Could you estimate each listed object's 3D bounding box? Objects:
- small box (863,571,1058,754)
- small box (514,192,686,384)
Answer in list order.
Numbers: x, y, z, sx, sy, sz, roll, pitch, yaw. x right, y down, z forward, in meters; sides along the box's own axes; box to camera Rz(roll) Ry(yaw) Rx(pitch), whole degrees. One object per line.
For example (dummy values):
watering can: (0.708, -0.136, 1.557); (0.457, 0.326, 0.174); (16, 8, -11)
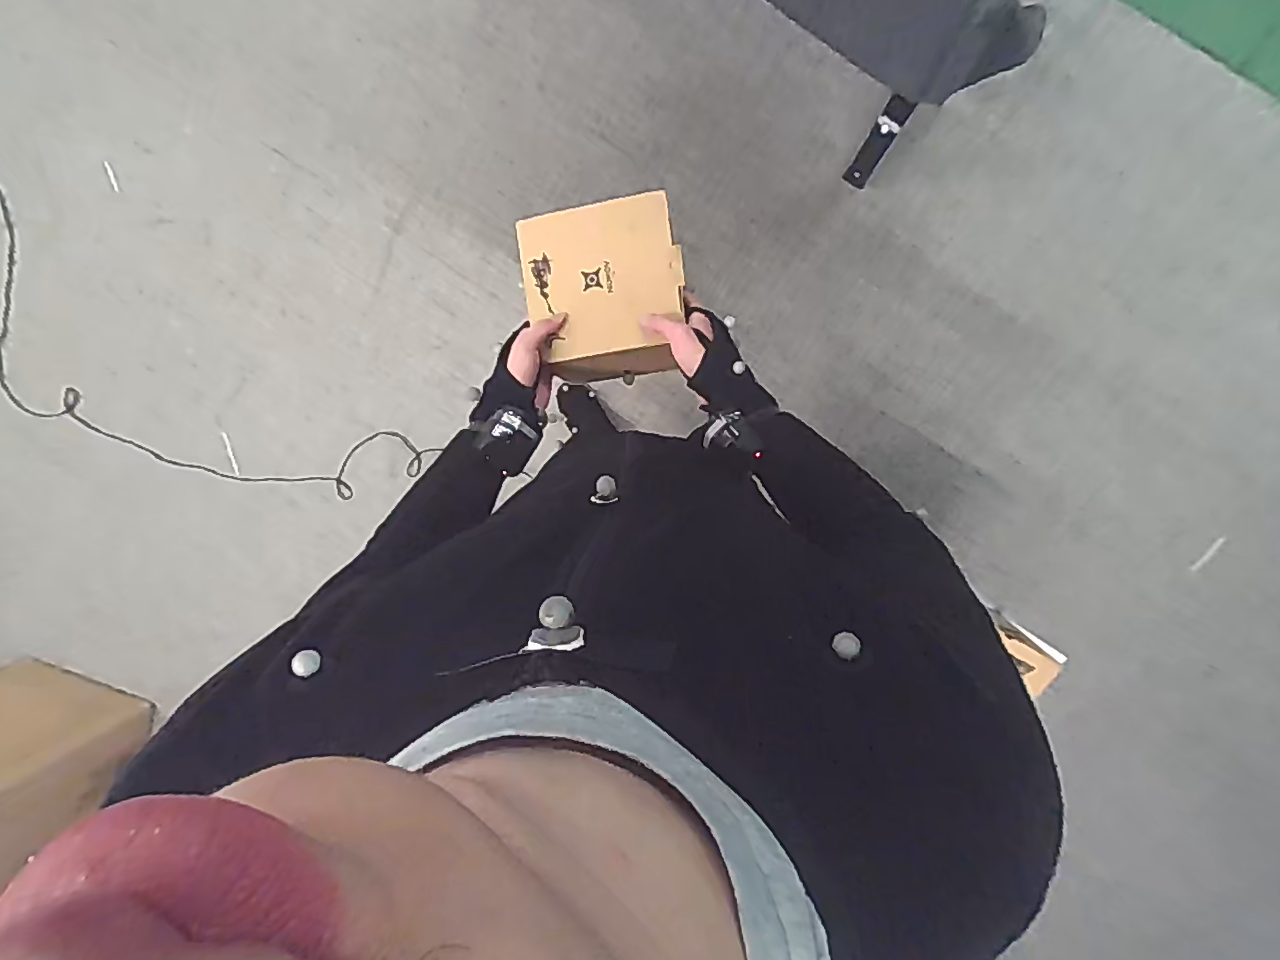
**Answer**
small box: (0.479, 0.271, 0.843); (0.168, 0.176, 0.179); (32, 104, 2)
small box: (-0.037, -0.222, 0.670); (0.179, 0.176, 0.168); (-7, 89, 7)
